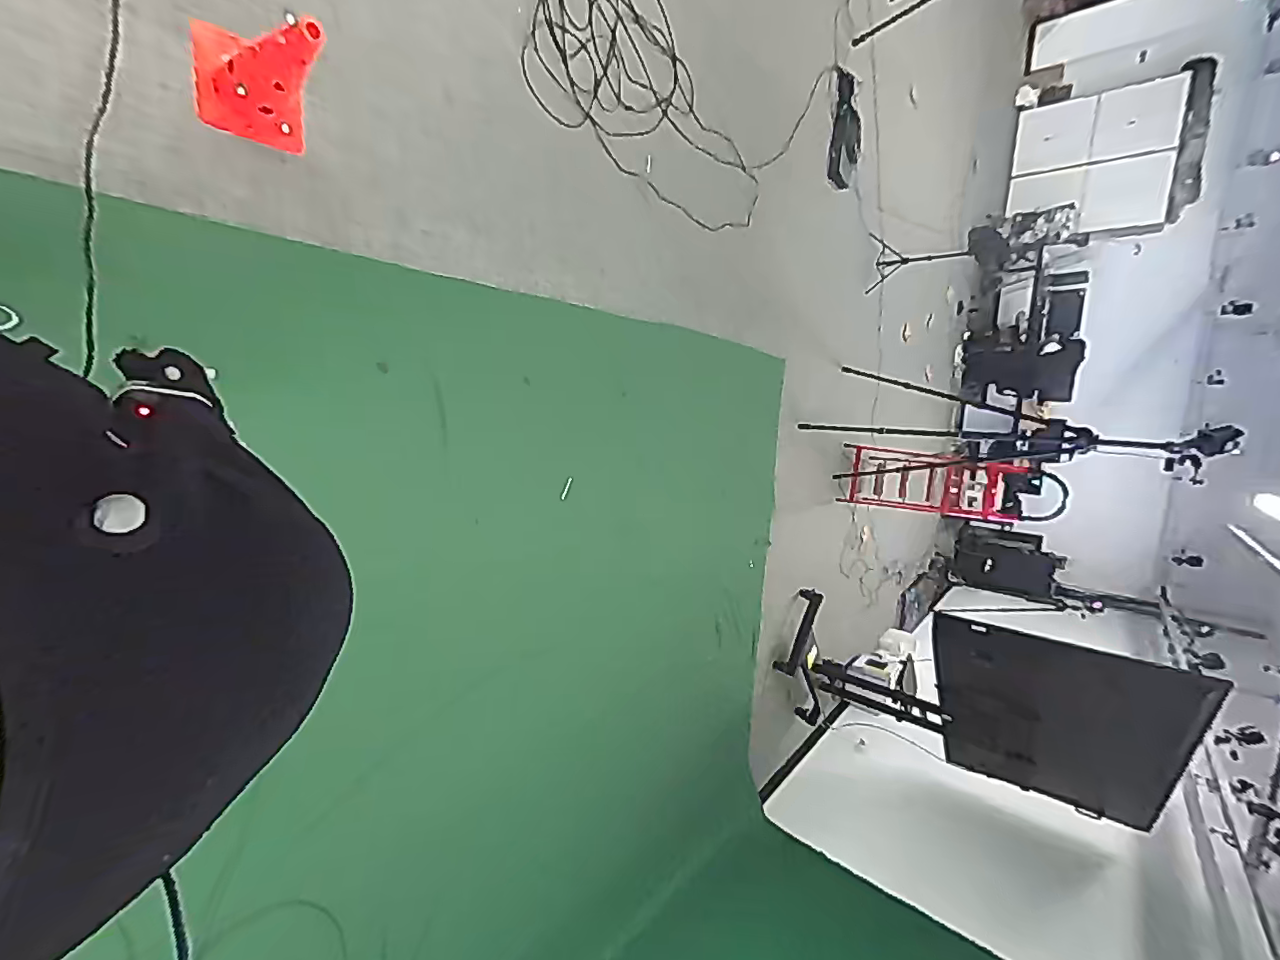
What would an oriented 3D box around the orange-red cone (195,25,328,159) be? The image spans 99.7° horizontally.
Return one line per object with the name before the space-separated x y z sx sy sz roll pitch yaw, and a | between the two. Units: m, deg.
orange-red cone | -0.720 -0.822 1.083 0.198 0.360 0.199 -6 101 -50
